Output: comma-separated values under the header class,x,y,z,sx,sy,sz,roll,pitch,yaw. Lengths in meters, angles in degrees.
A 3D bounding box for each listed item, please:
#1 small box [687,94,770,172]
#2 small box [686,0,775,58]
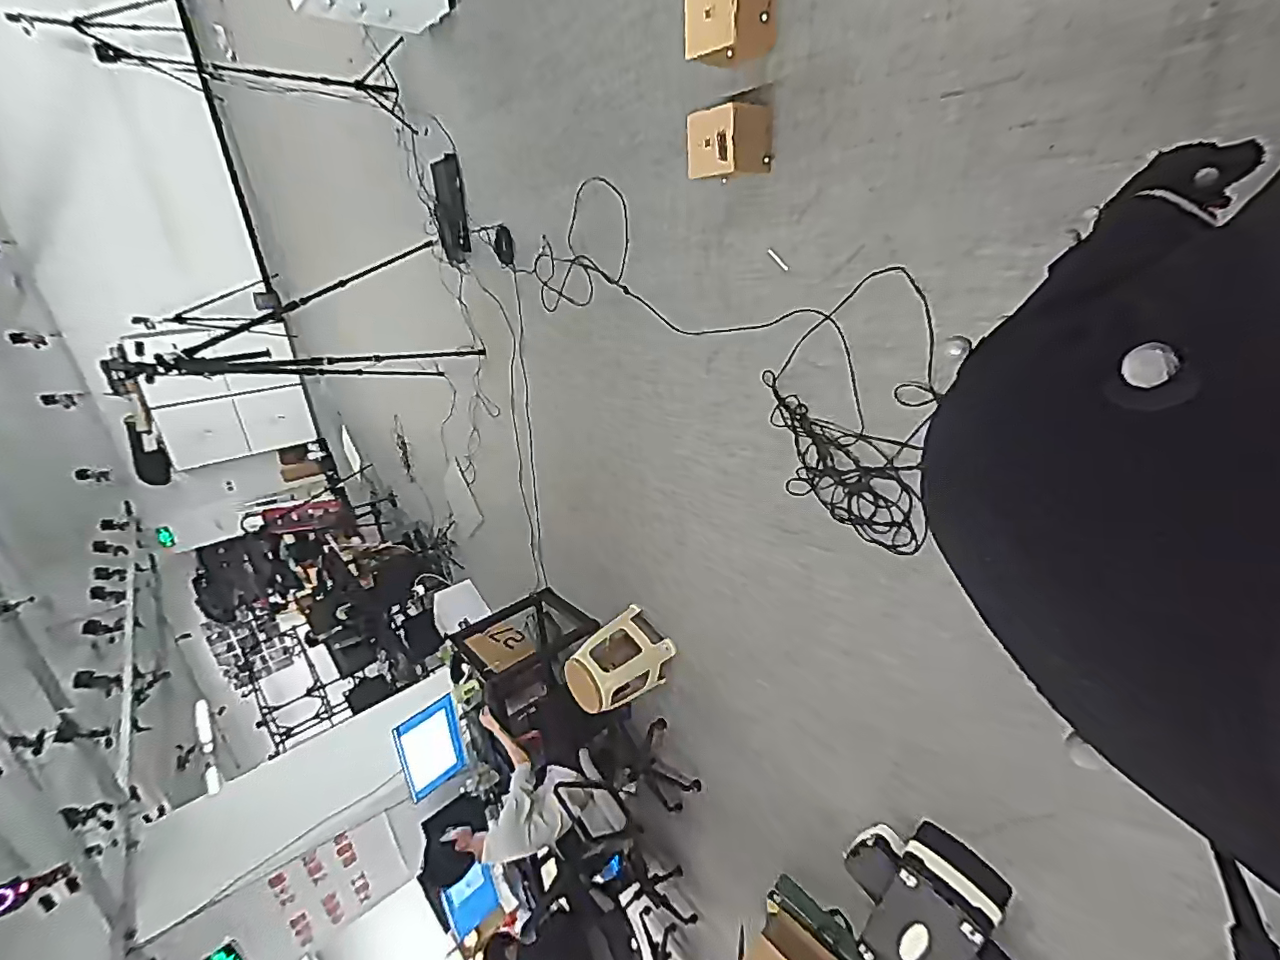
class,x,y,z,sx,sy,sz,roll,pitch,yaw
small box,0.258,-0.996,1.563,0.179,0.176,0.168,22,124,45
small box,0.242,-1.262,1.448,0.179,0.176,0.168,22,125,43
